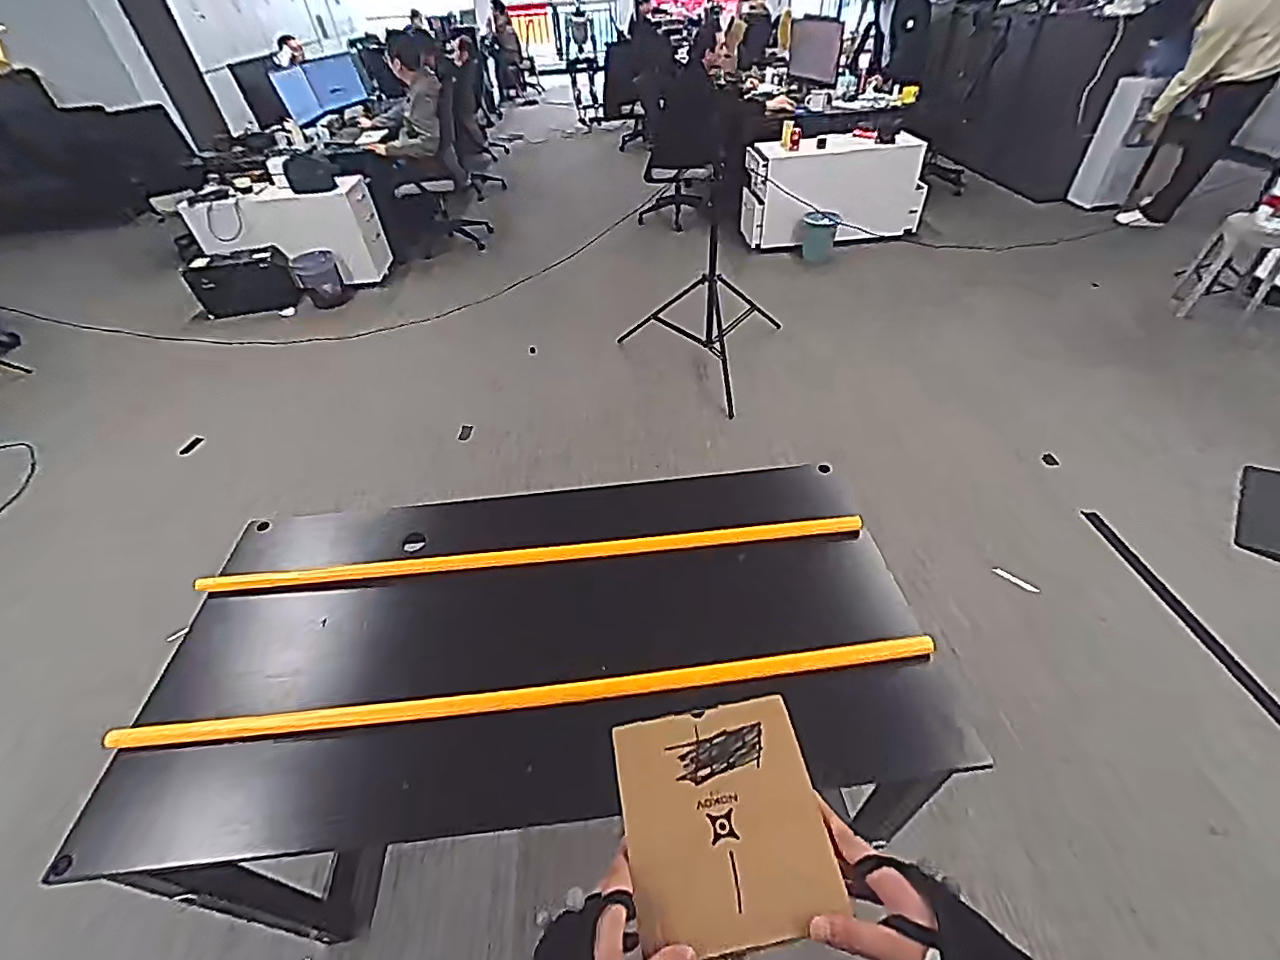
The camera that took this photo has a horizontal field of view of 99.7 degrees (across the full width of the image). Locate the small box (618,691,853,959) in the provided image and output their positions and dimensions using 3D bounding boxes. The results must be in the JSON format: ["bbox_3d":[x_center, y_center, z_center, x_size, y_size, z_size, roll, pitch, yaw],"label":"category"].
[{"bbox_3d":[0.076,0.333,0.523,0.168,0.176,0.179,-10,48,-3],"label":"small box"}]
